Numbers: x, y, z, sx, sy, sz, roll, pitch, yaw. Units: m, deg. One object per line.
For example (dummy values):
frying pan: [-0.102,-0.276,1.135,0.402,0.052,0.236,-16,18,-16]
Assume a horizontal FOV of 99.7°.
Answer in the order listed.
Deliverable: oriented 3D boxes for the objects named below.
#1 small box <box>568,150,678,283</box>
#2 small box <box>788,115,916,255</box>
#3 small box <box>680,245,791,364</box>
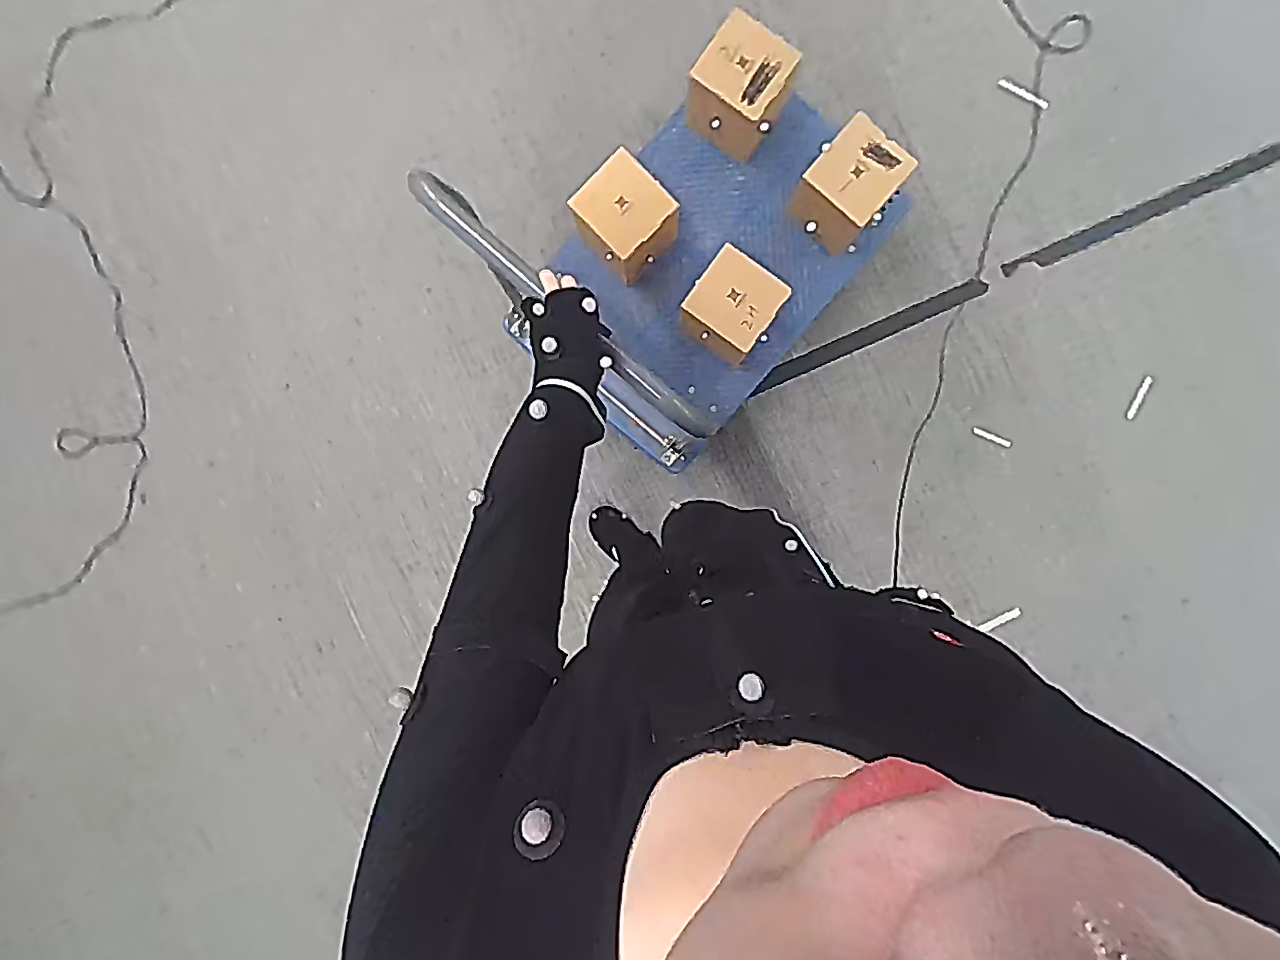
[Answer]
small box: [-0.035,-0.578,1.213,0.179,0.176,0.168,45,93,-1]
small box: [0.454,-0.638,1.192,0.168,0.176,0.179,42,94,0]
small box: [0.203,-0.380,1.211,0.179,0.176,0.168,37,93,1]
